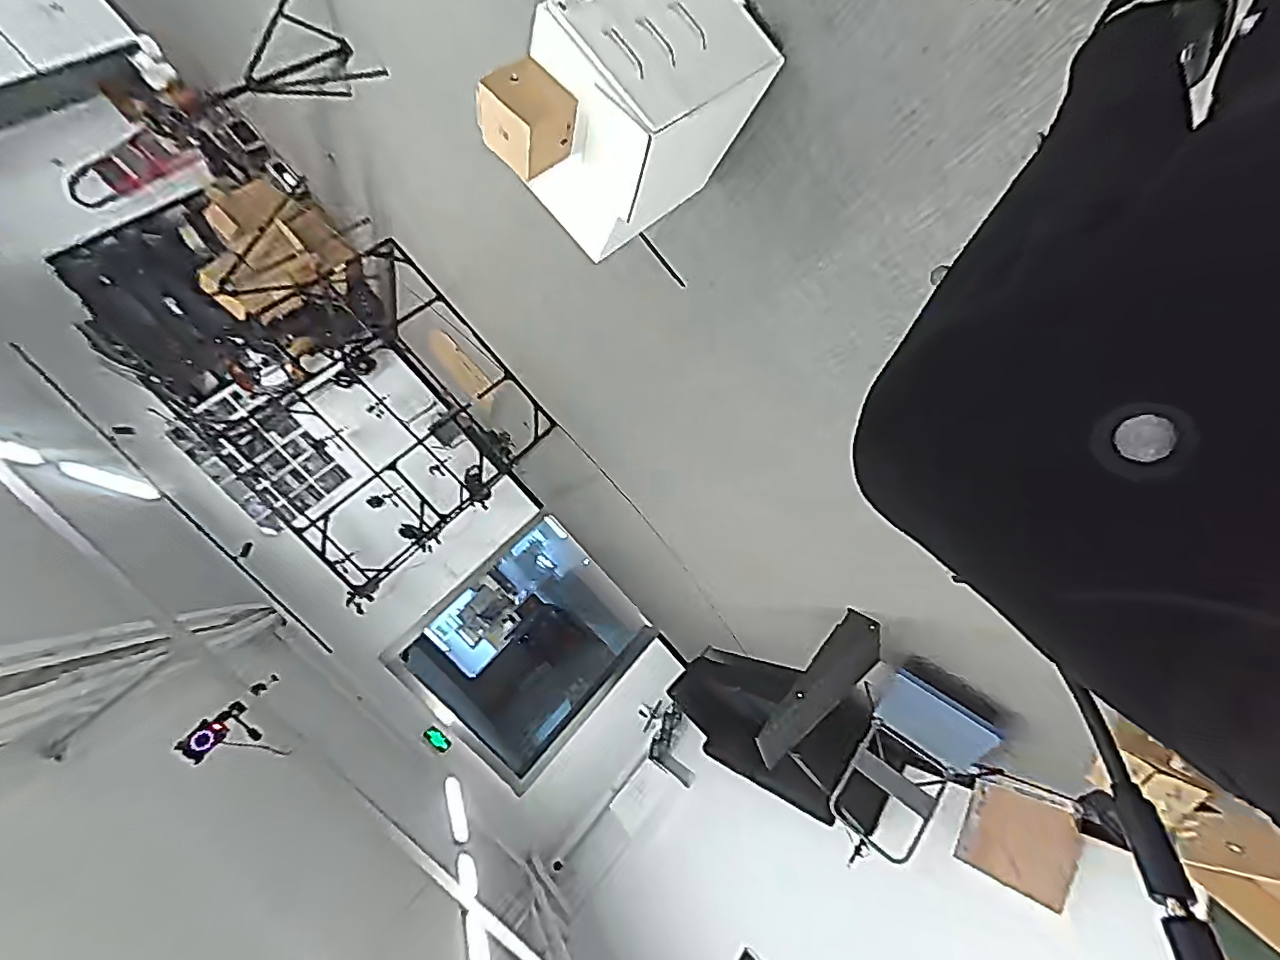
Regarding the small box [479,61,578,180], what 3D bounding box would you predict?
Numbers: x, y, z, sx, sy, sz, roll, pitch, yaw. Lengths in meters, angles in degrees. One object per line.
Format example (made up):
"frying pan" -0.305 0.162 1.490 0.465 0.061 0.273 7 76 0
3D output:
"small box" -0.283 -0.916 1.372 0.179 0.176 0.168 43 158 2
